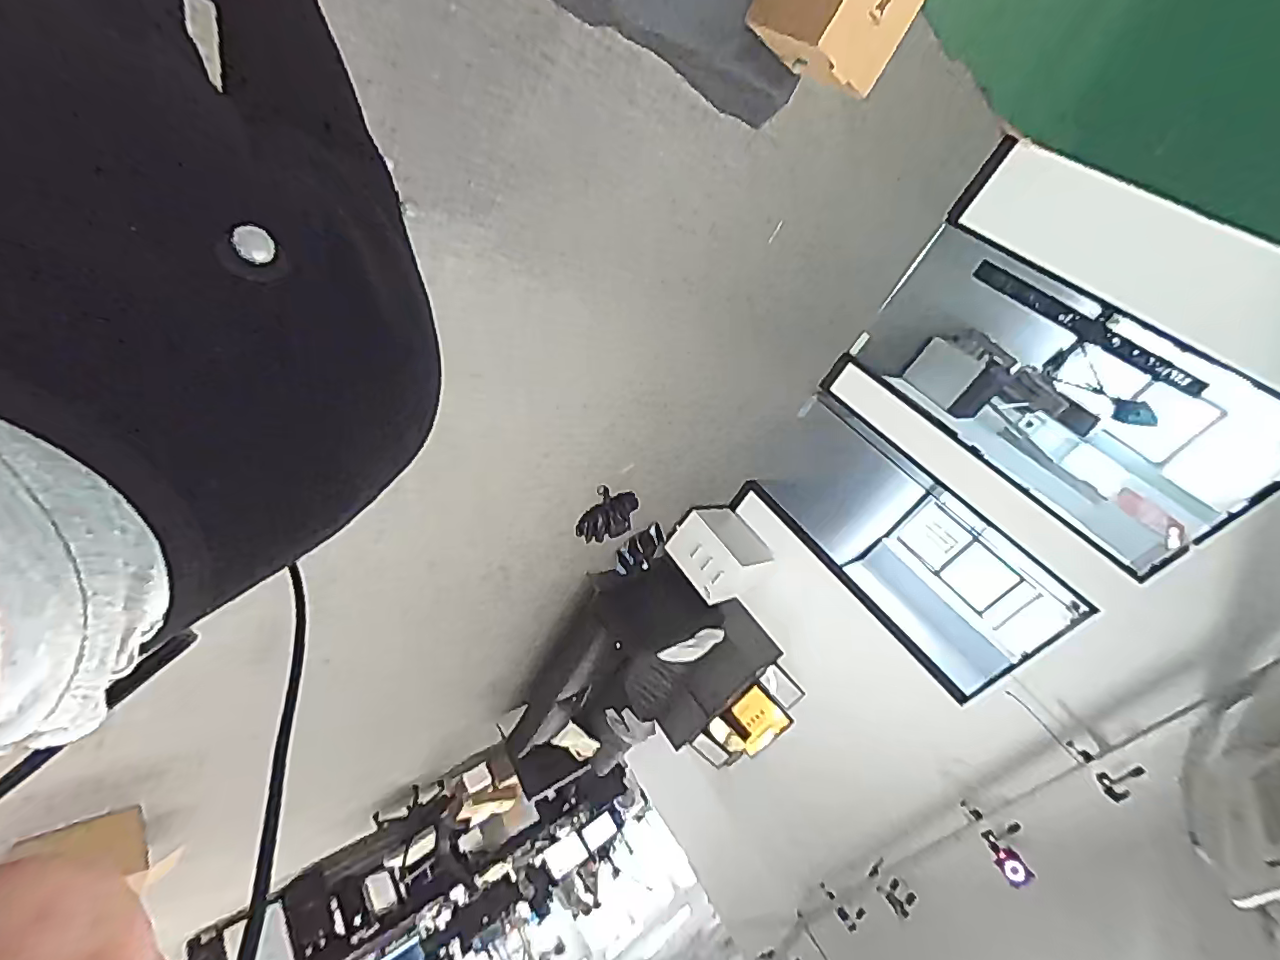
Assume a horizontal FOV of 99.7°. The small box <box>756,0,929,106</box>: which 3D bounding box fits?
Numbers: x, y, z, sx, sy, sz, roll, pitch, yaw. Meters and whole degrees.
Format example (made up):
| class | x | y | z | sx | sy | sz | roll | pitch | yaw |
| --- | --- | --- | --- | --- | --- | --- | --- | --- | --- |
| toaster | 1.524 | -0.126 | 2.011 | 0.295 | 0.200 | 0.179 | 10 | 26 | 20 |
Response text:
| class | x | y | z | sx | sy | sz | roll | pitch | yaw |
| --- | --- | --- | --- | --- | --- | --- | --- | --- | --- |
| small box | 0.305 | -0.732 | 0.832 | 0.168 | 0.176 | 0.179 | -2 | 134 | -46 |
